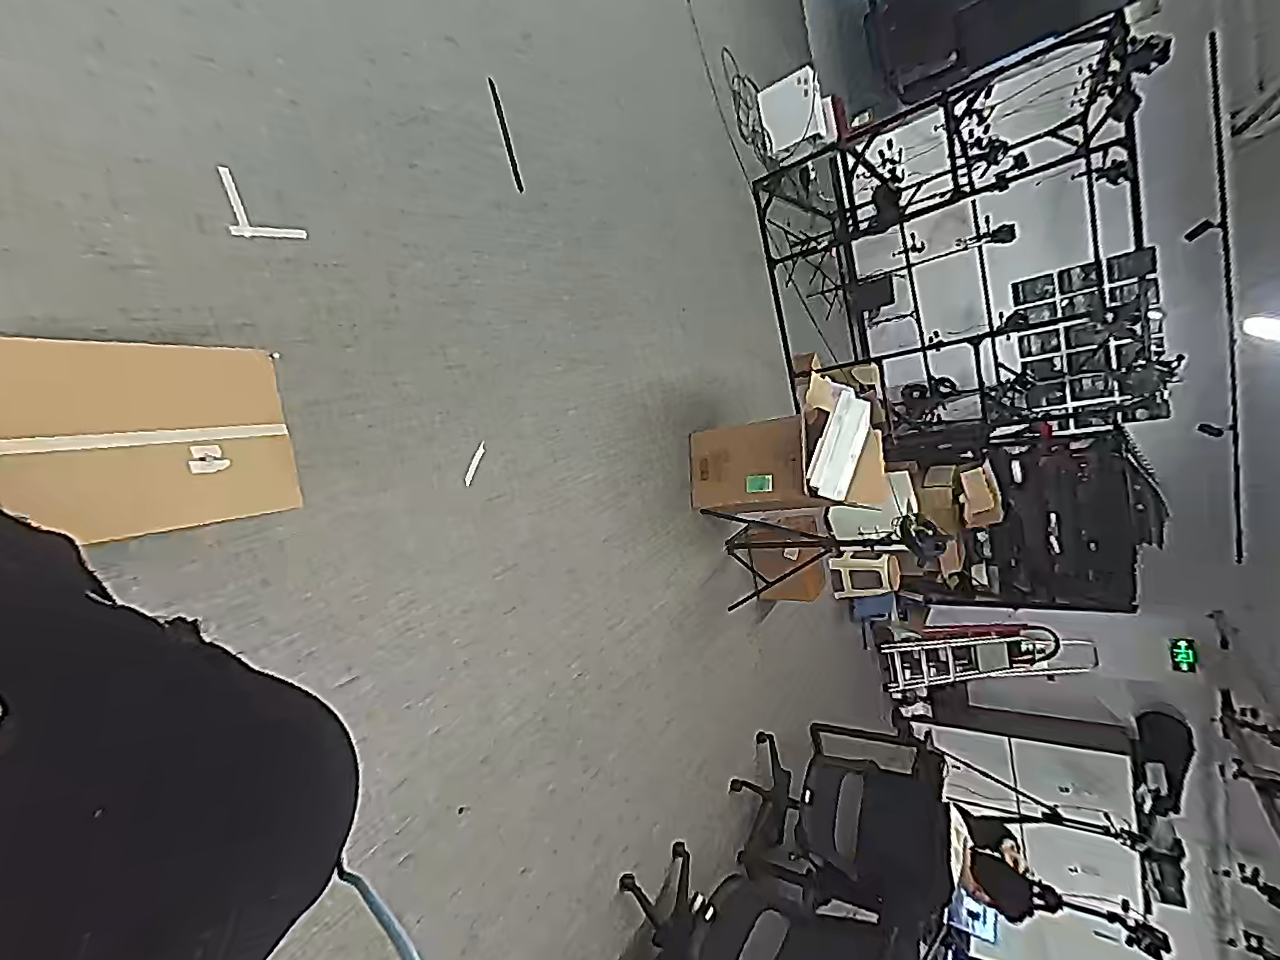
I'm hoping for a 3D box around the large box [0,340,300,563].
[{"bbox_3d":[-0.924,-0.053,0.971,0.408,0.320,0.320,-15,97,-55],"label":"large box"}]
